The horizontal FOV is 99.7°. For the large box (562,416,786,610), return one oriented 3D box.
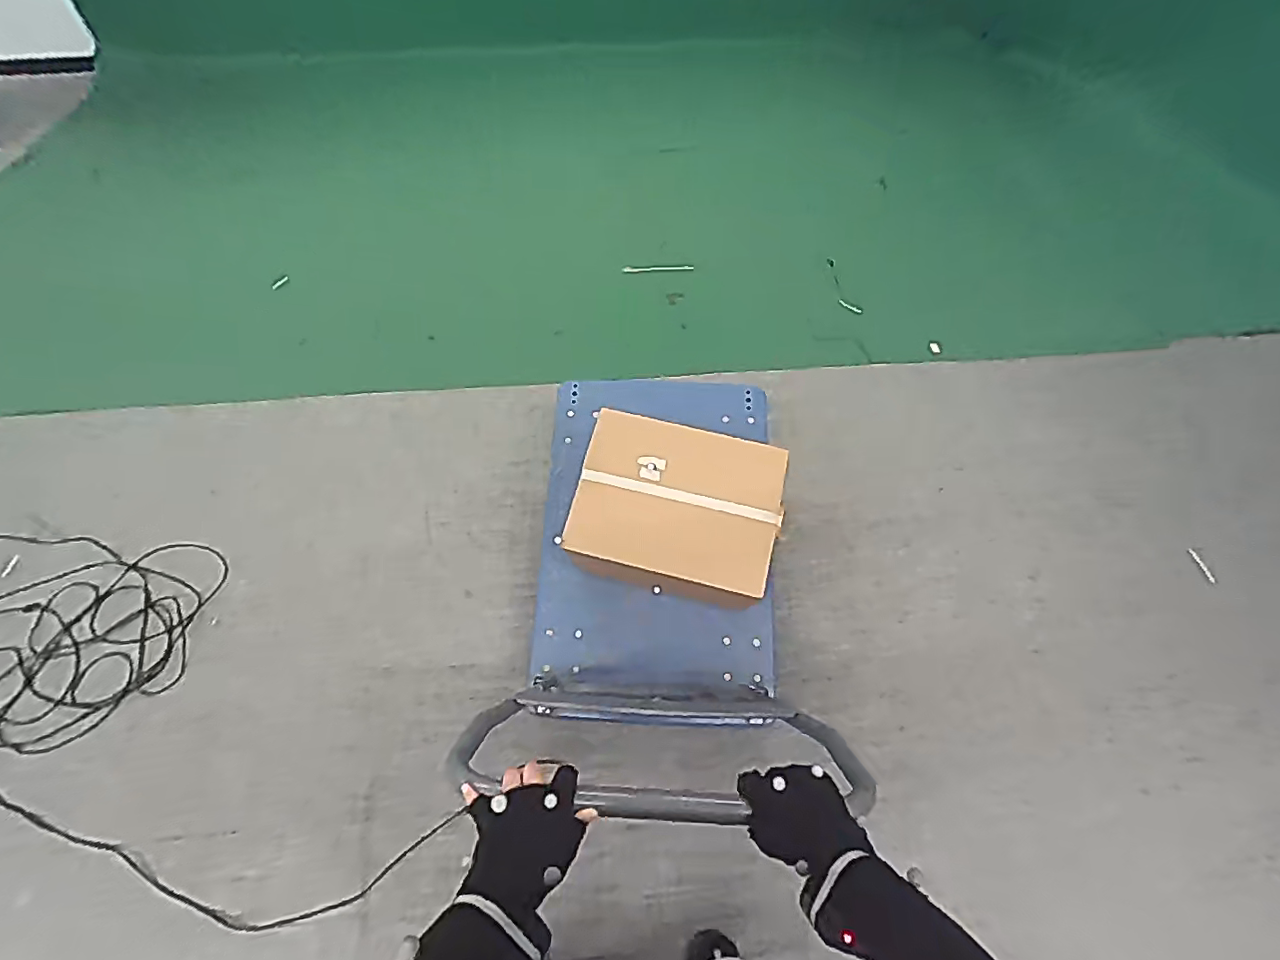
[{"bbox_3d":[0.080,0.091,1.223,0.408,0.320,0.320,13,72,6],"label":"large box"}]
